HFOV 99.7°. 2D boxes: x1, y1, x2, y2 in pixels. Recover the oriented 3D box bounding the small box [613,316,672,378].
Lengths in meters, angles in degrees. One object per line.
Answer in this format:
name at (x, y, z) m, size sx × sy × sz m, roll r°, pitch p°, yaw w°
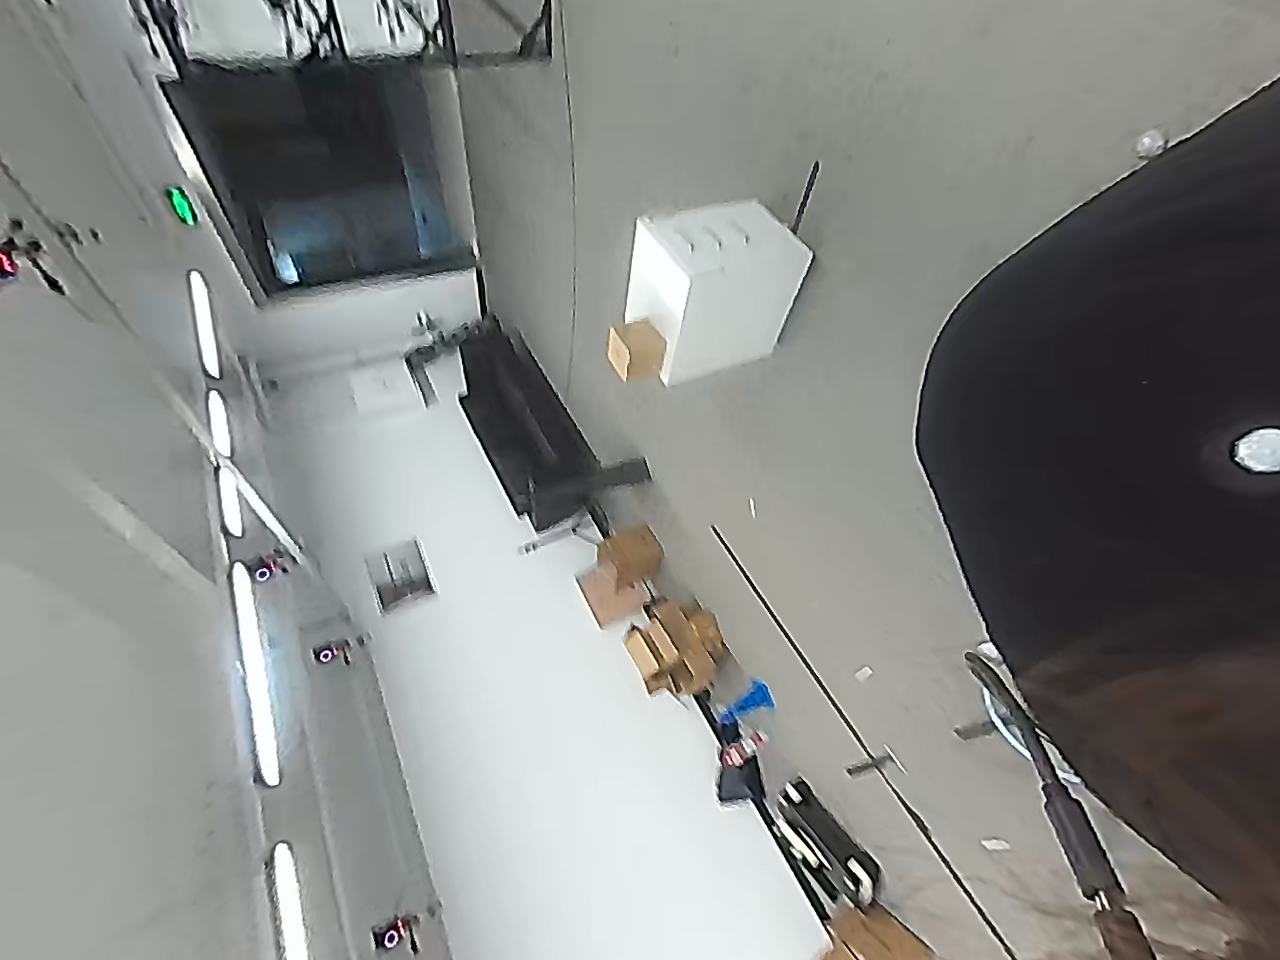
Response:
small box at (0.008, -0.548, 2.203) m, size 0.179 × 0.176 × 0.168 m, roll 59°, pitch 157°, yaw 28°
